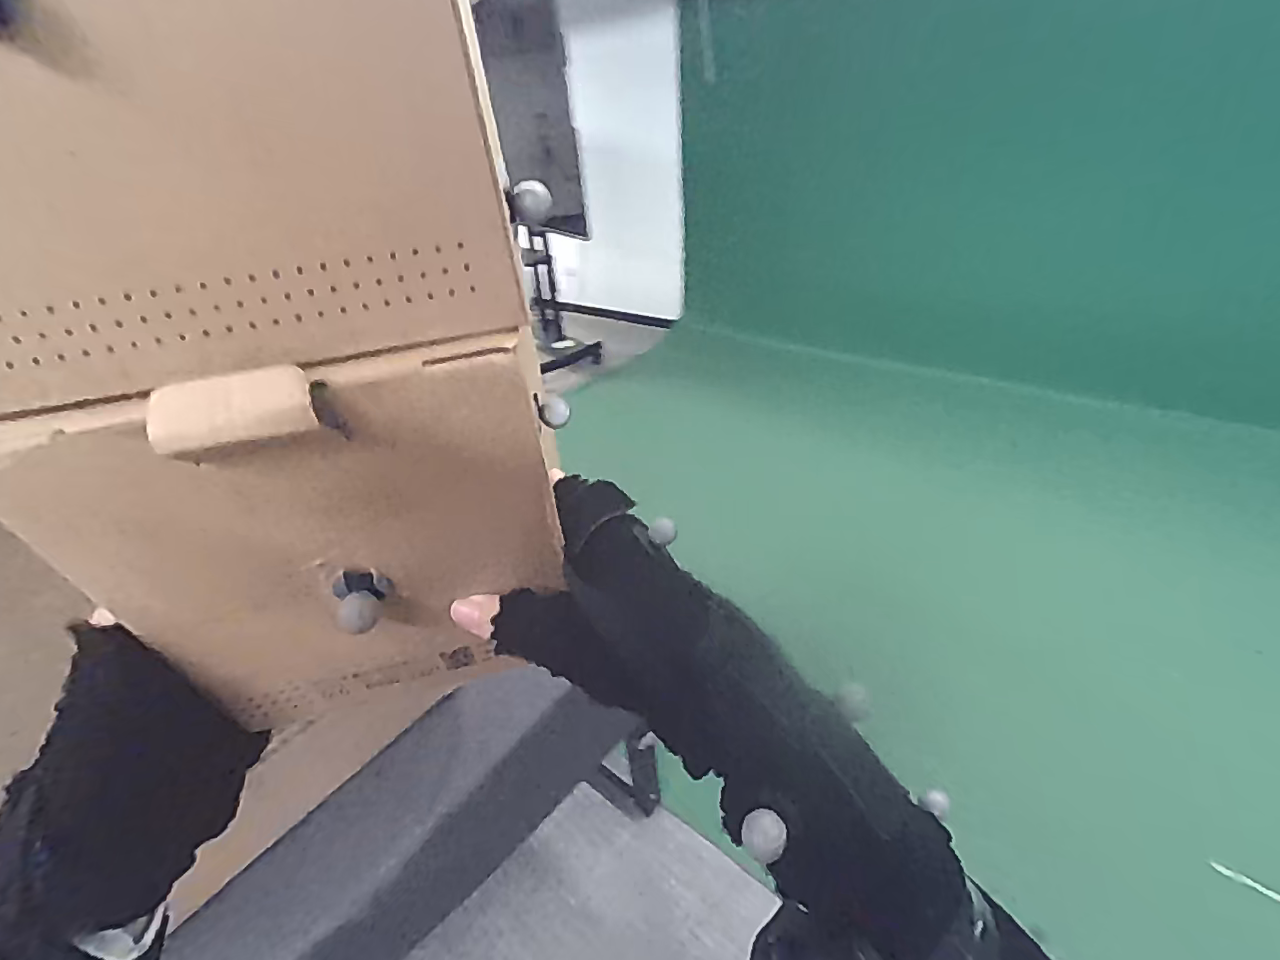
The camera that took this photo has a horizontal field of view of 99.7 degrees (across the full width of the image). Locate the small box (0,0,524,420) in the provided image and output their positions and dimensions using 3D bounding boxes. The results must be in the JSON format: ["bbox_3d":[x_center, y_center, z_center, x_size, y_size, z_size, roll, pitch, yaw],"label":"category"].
[{"bbox_3d":[-0.138,-0.140,0.181,0.179,0.176,0.168,-11,39,-5],"label":"small box"}]

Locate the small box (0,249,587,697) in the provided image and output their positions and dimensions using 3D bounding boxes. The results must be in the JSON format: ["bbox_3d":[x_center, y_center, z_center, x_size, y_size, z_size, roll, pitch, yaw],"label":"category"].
[{"bbox_3d":[-0.125,-0.009,0.281,0.168,0.176,0.179,-10,40,-6],"label":"small box"}]
